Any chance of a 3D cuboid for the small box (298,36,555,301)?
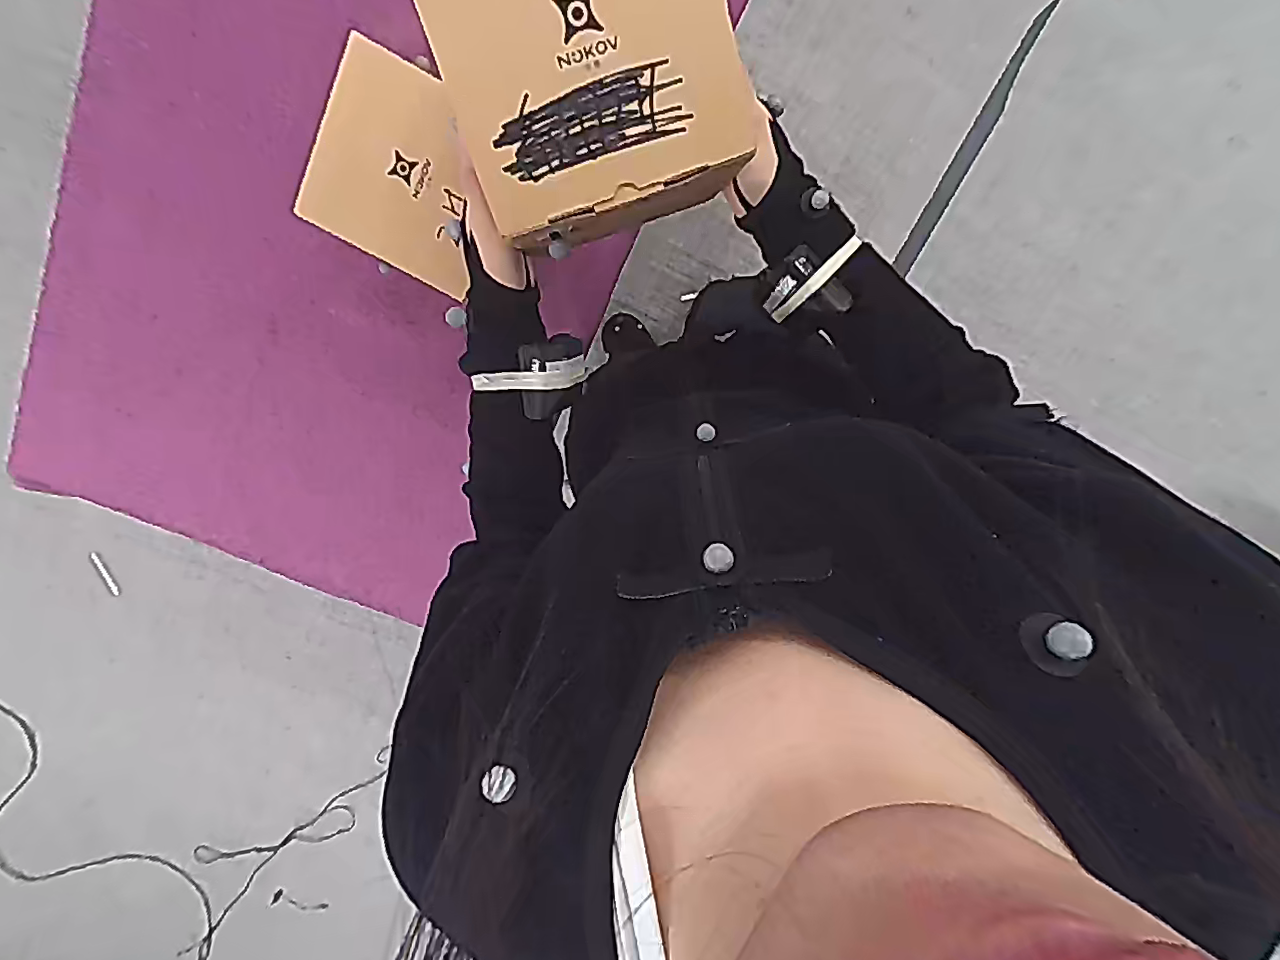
[{"bbox_3d":[-0.210,-0.303,0.578,0.179,0.176,0.168,27,104,-8],"label":"small box"}]
